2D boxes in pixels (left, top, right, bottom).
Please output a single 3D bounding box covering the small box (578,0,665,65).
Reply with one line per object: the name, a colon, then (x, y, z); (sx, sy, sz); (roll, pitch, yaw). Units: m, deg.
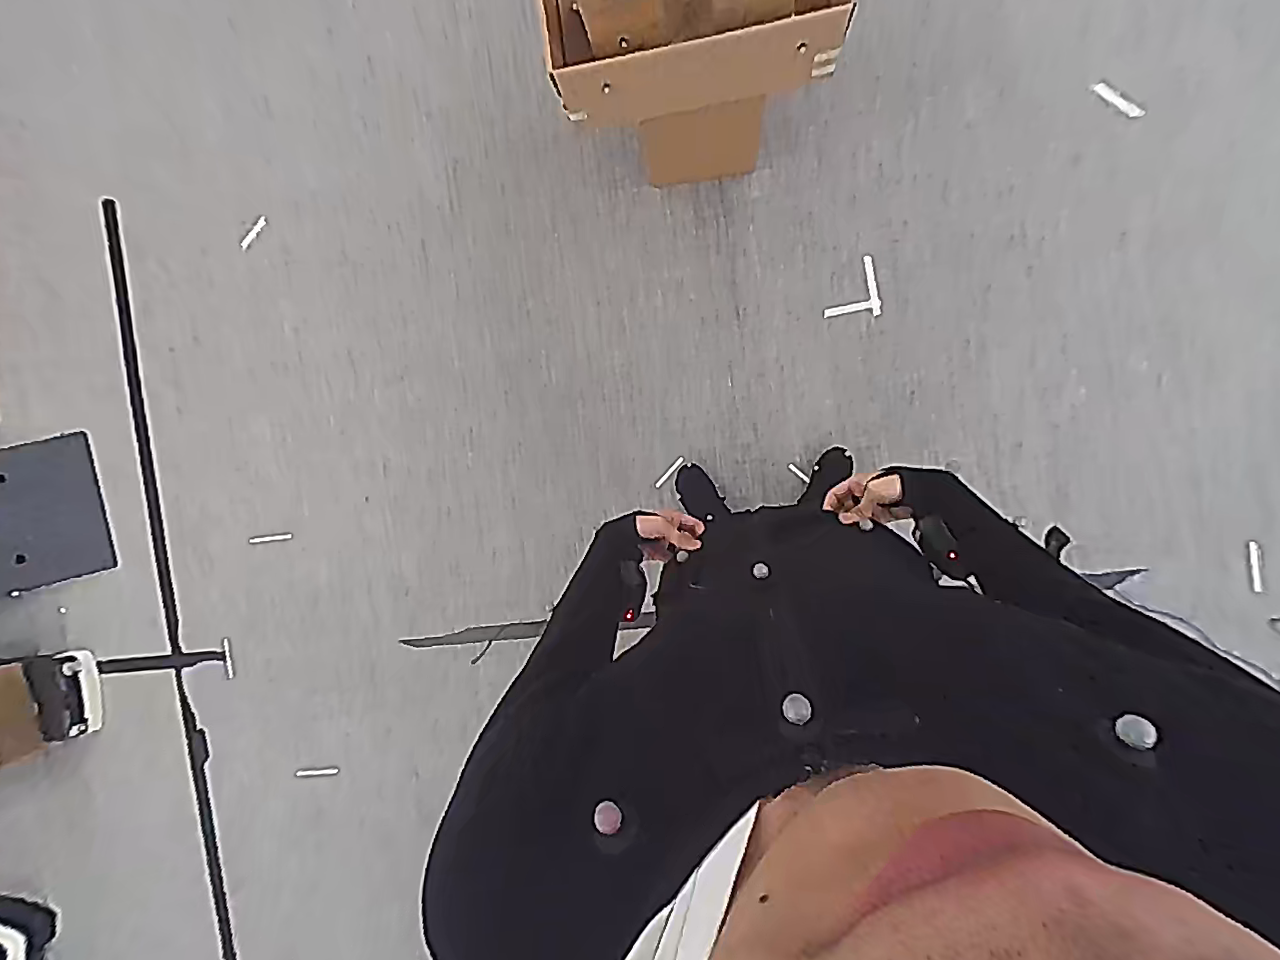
small box: (-0.051, -1.032, 1.131); (0.168, 0.176, 0.179); (-15, 90, 8)
